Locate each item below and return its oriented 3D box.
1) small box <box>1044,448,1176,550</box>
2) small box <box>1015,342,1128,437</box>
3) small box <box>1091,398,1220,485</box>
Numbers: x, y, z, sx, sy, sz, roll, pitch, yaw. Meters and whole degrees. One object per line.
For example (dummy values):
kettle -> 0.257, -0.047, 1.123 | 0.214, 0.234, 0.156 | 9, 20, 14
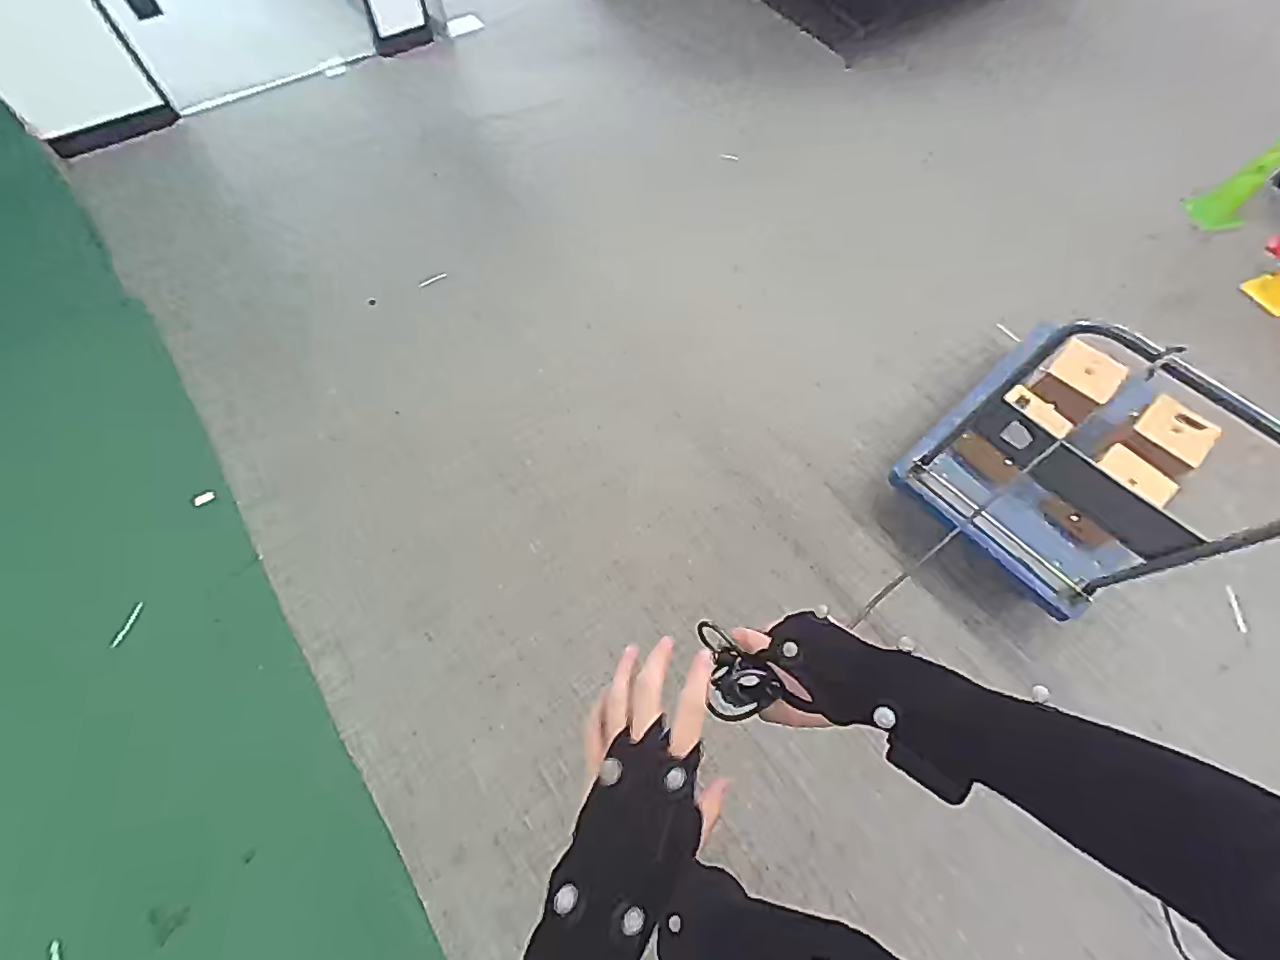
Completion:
small box -> 1.225, 0.055, 1.423 | 0.179, 0.176, 0.168 | -37, 70, -17
small box -> 1.246, -0.258, 1.578 | 0.168, 0.176, 0.179 | 42, 70, 17
small box -> 1.416, -0.086, 1.498 | 0.179, 0.176, 0.168 | -40, 70, -18
